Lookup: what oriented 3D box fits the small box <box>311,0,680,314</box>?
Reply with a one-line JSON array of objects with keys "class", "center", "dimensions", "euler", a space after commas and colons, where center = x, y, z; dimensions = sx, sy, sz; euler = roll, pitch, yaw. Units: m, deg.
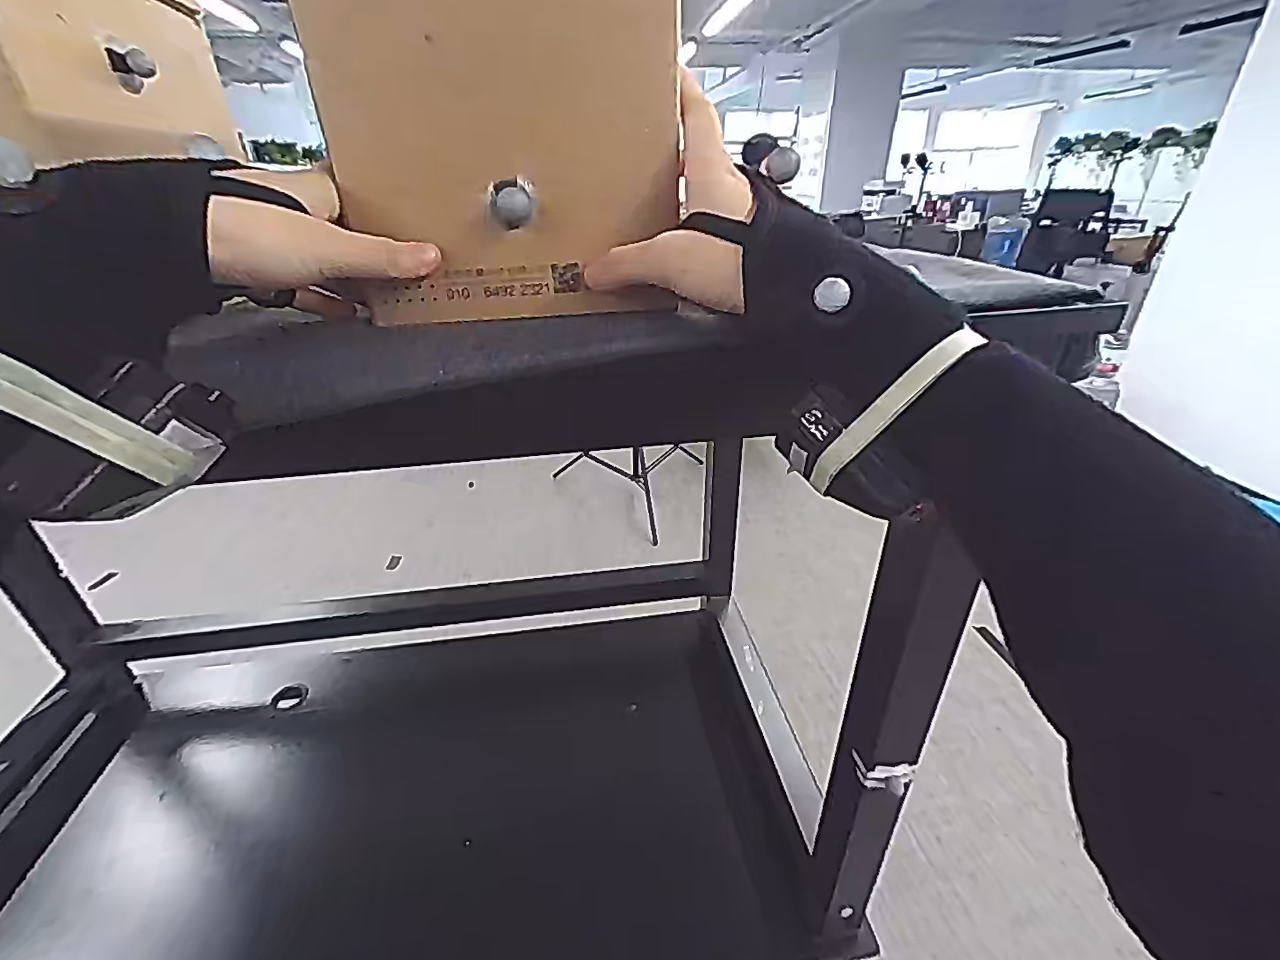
[{"class": "small box", "center": [-0.070, -0.202, 0.330], "dimensions": [0.168, 0.176, 0.179], "euler": [-6, 29, -4]}]

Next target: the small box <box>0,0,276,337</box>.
[{"class": "small box", "center": [-0.343, -0.177, 0.299], "dimensions": [0.168, 0.176, 0.179], "euler": [-5, 27, -7]}]
